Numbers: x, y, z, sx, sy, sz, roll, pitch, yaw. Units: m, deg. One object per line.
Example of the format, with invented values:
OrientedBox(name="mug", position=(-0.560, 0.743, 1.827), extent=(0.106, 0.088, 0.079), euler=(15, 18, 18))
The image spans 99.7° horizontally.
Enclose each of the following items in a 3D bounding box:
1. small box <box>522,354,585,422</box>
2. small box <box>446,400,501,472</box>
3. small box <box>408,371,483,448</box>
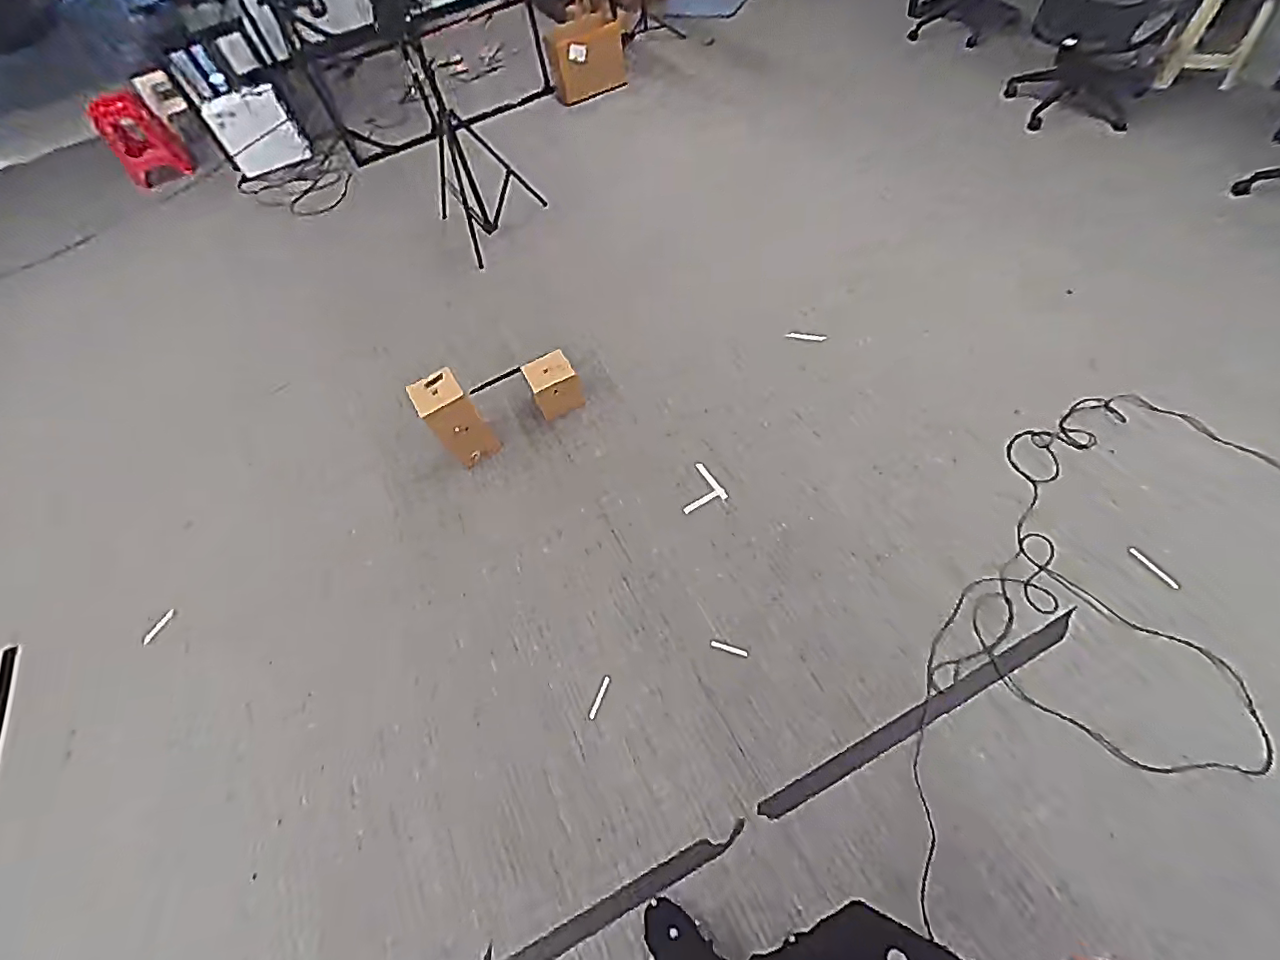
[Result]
OrientedBox(name="small box", position=(-0.339, -0.357, 2.137), extent=(0.179, 0.176, 0.168), euler=(-26, 57, -9))
OrientedBox(name="small box", position=(-0.661, -0.165, 2.065), extent=(0.168, 0.176, 0.179), euler=(-33, 58, -12))
OrientedBox(name="small box", position=(-0.689, -0.247, 1.926), extent=(0.168, 0.176, 0.179), euler=(-32, 58, -10))
